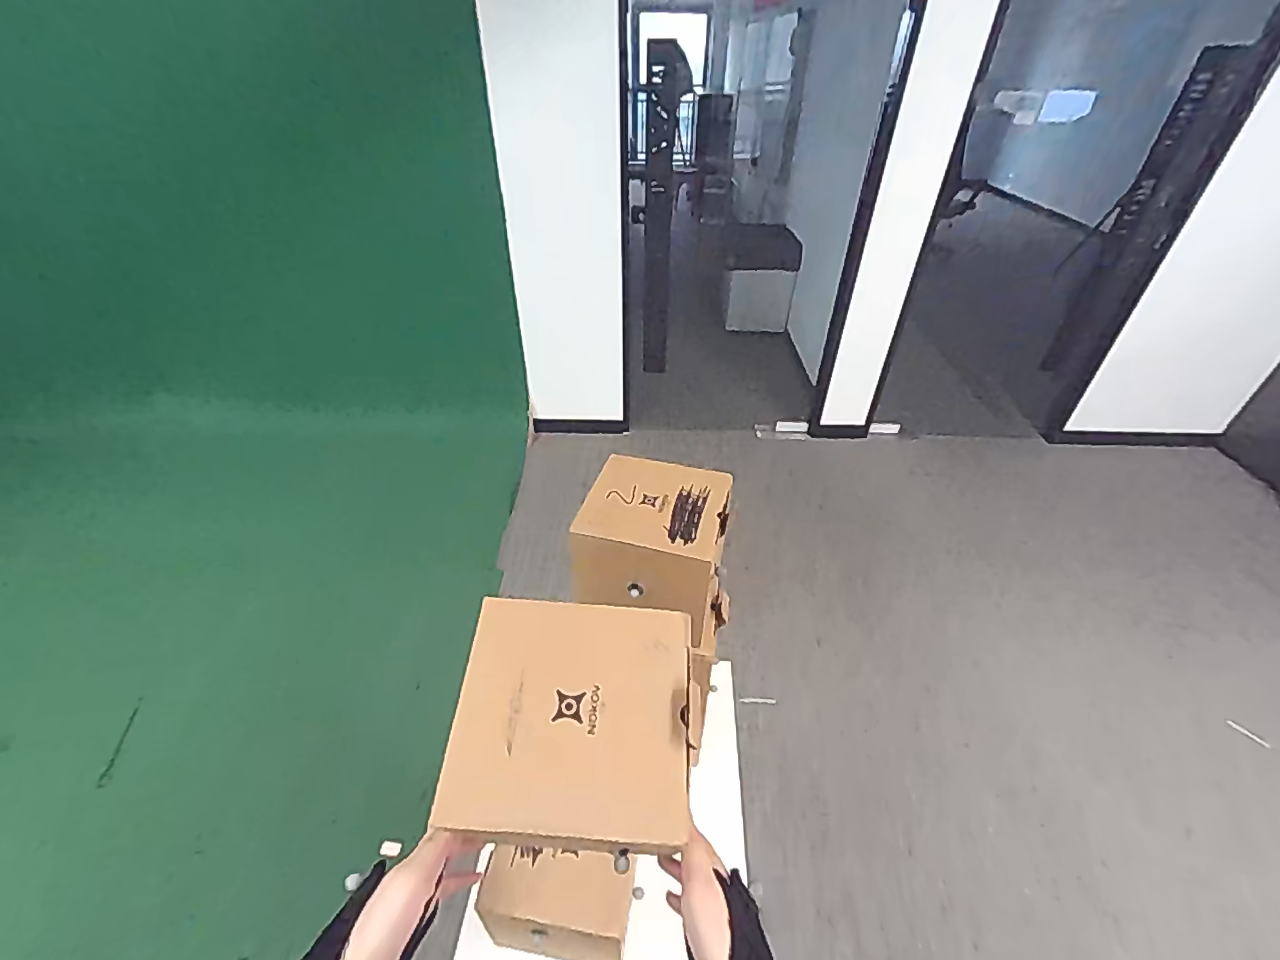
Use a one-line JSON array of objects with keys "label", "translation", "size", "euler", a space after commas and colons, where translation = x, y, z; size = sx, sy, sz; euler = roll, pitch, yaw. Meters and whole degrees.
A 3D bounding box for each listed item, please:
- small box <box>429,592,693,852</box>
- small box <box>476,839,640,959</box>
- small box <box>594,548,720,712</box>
[{"label": "small box", "translation": [-0.051, 0.214, 0.468], "size": [0.179, 0.176, 0.168], "euler": [4, 52, 1]}, {"label": "small box", "translation": [-0.095, 0.512, 0.726], "size": [0.179, 0.176, 0.168], "euler": [7, 38, 6]}, {"label": "small box", "translation": [0.023, 0.229, 0.825], "size": [0.179, 0.176, 0.168], "euler": [7, 39, 7]}]
